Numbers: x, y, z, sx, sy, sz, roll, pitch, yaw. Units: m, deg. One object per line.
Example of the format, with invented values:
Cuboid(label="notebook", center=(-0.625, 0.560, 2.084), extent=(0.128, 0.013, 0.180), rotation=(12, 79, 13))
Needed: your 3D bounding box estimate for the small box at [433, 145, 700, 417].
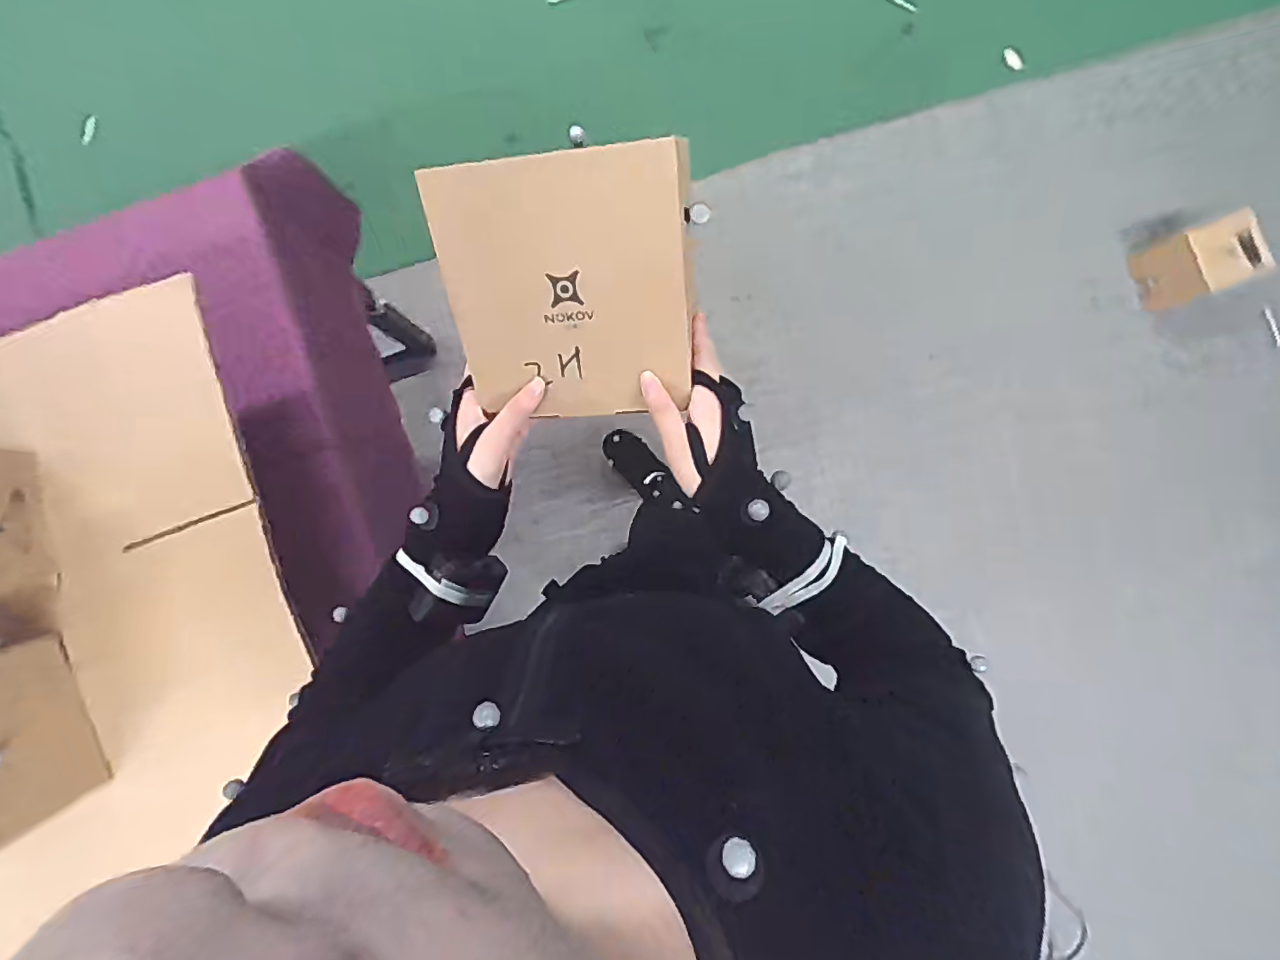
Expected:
Cuboid(label="small box", center=(-0.038, -0.166, 0.446), extent=(0.168, 0.176, 0.179), rotation=(0, 122, 9))
